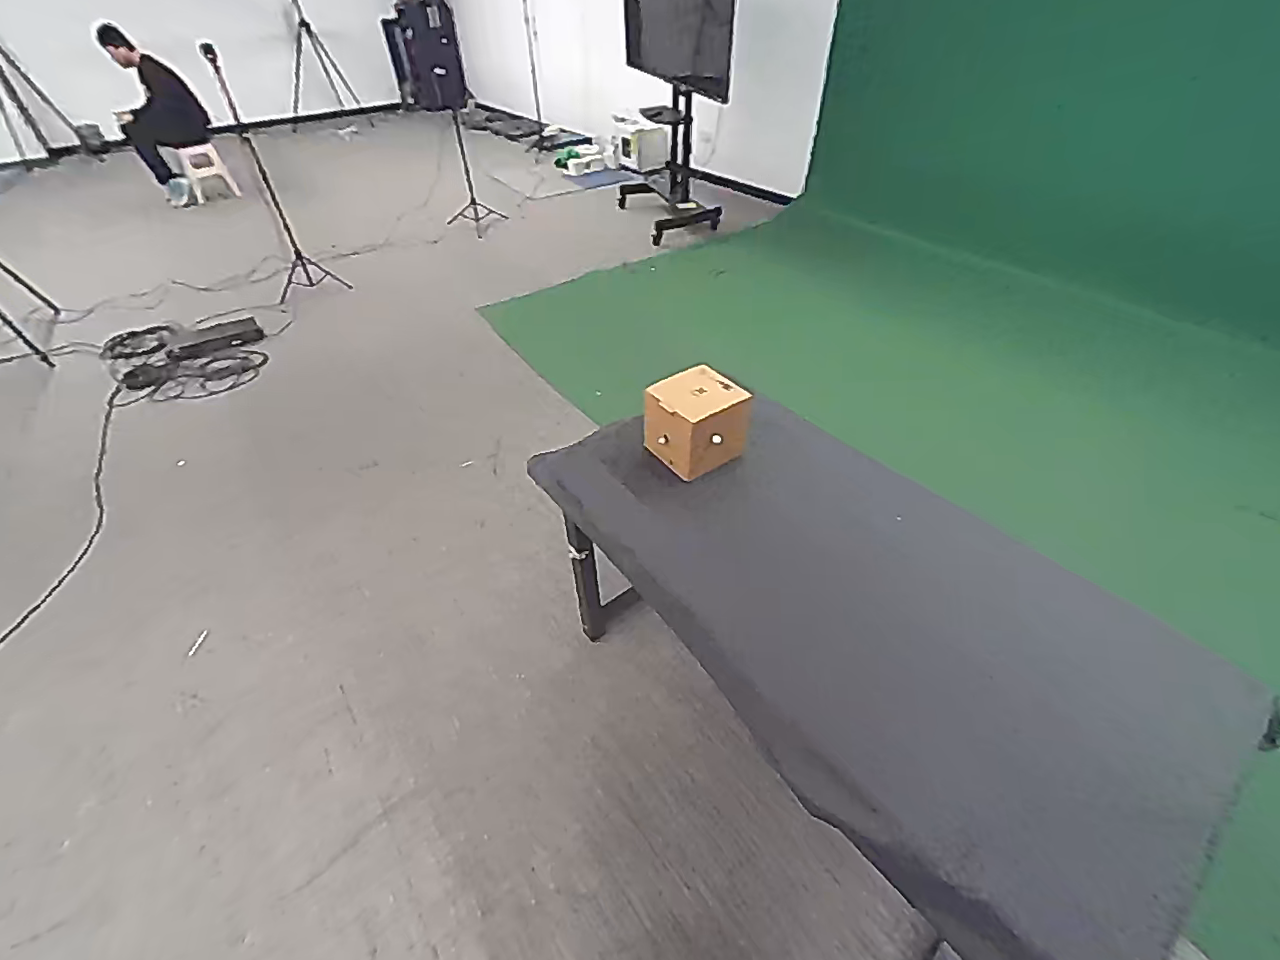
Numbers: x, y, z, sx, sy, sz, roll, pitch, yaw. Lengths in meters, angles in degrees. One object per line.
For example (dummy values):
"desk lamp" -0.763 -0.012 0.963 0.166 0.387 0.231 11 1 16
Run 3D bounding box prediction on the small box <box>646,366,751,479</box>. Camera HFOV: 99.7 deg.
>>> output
"small box" 0.133 -0.130 1.247 0.179 0.176 0.168 -27 50 -24
